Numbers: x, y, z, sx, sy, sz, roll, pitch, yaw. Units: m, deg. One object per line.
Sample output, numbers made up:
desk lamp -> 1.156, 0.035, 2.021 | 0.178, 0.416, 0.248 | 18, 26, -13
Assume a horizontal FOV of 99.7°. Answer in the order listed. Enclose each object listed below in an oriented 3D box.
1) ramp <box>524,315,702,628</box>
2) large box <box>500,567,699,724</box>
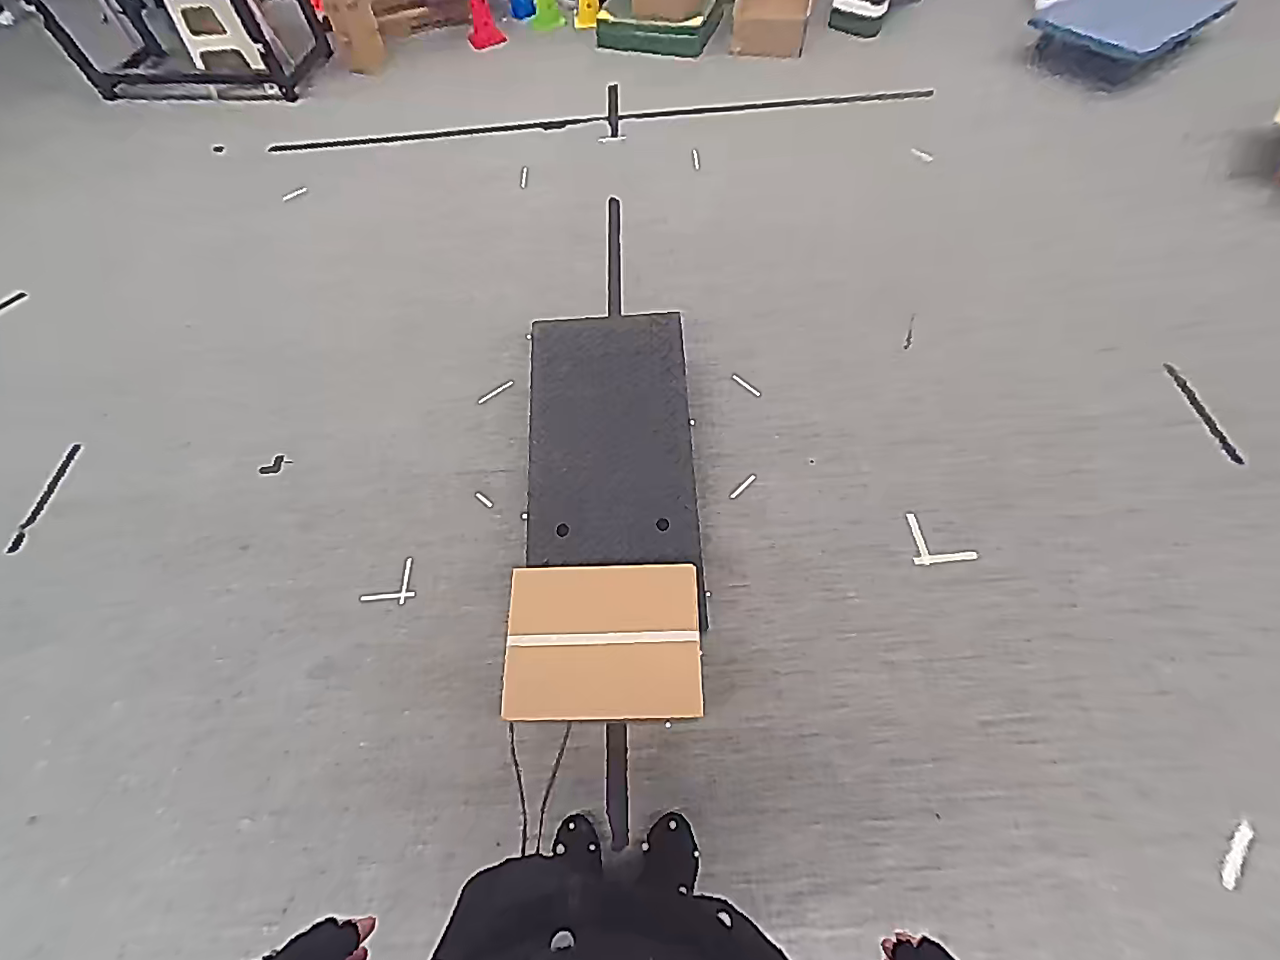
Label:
ramp -> -0.094, -0.059, 1.613 | 0.509, 0.206, 0.991 | -4, 60, -1
large box -> -0.078, 0.400, 1.269 | 0.408, 0.320, 0.320 | -2, 64, 1
